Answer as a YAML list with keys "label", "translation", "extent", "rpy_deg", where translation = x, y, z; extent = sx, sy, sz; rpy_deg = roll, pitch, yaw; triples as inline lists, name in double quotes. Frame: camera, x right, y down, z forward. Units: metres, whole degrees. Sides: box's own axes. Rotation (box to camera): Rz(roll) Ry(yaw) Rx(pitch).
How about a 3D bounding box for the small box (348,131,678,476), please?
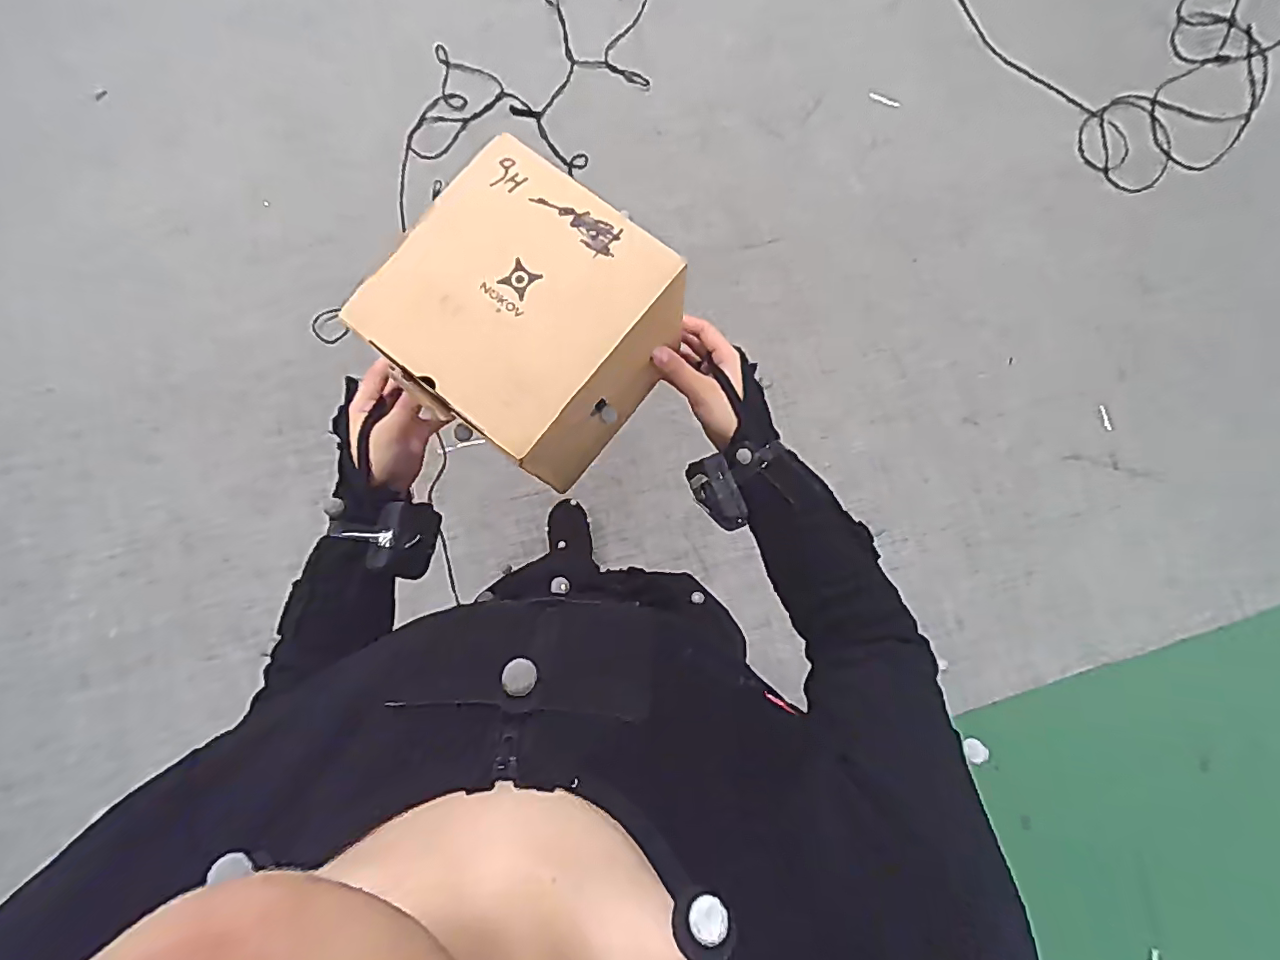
- label: "small box"
  translation: [-0.082, -0.122, 0.446]
  extent: [0.168, 0.176, 0.179]
  rpy_deg: [38, 86, 7]
